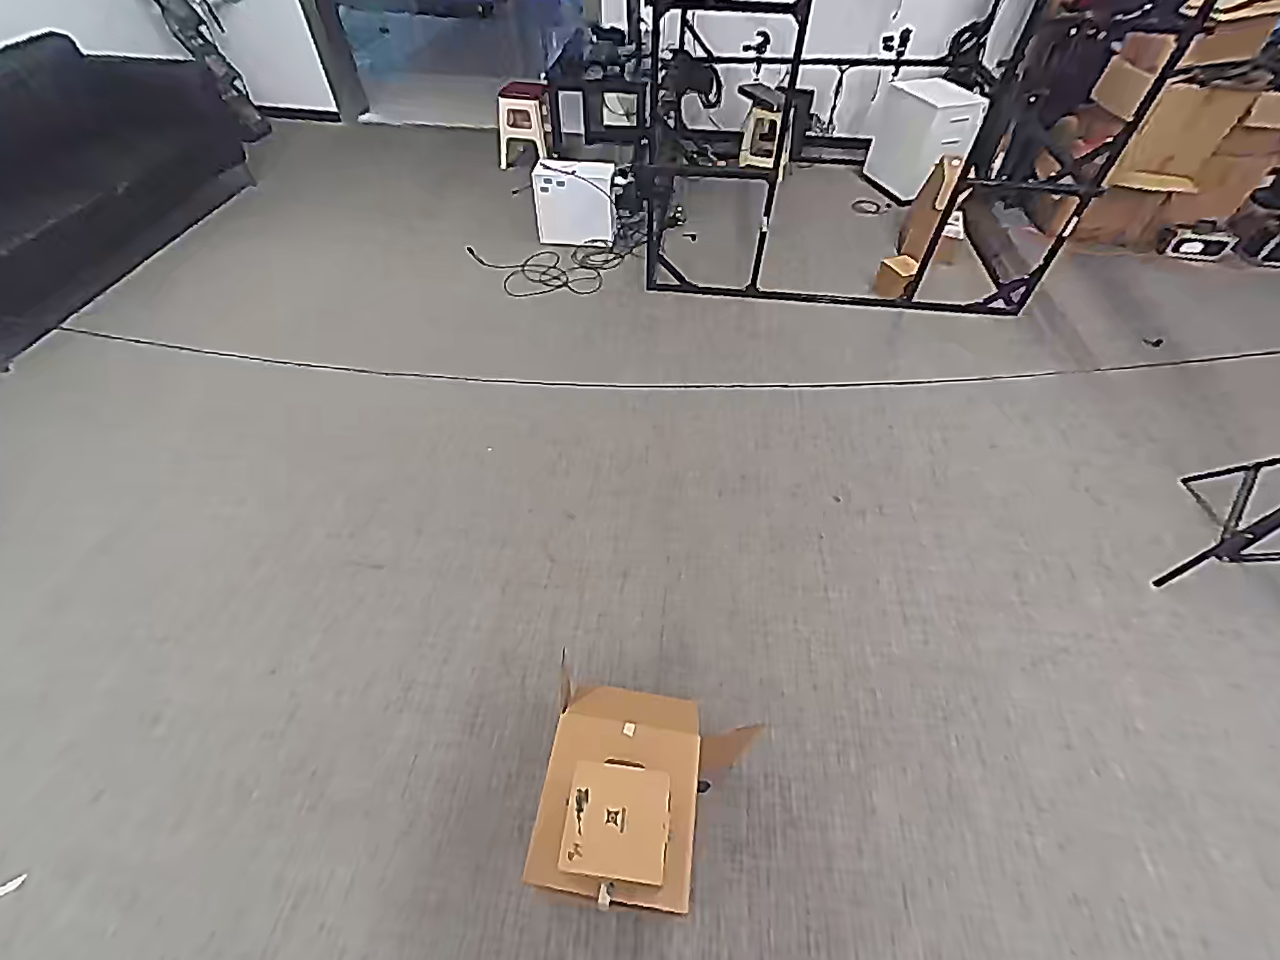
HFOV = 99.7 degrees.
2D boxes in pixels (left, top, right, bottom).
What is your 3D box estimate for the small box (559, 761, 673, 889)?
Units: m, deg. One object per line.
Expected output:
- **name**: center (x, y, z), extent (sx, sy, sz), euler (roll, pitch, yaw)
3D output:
- **small box**: center (-0.039, 0.633, 0.990), extent (0.179, 0.176, 0.168), euler (7, 51, 4)
